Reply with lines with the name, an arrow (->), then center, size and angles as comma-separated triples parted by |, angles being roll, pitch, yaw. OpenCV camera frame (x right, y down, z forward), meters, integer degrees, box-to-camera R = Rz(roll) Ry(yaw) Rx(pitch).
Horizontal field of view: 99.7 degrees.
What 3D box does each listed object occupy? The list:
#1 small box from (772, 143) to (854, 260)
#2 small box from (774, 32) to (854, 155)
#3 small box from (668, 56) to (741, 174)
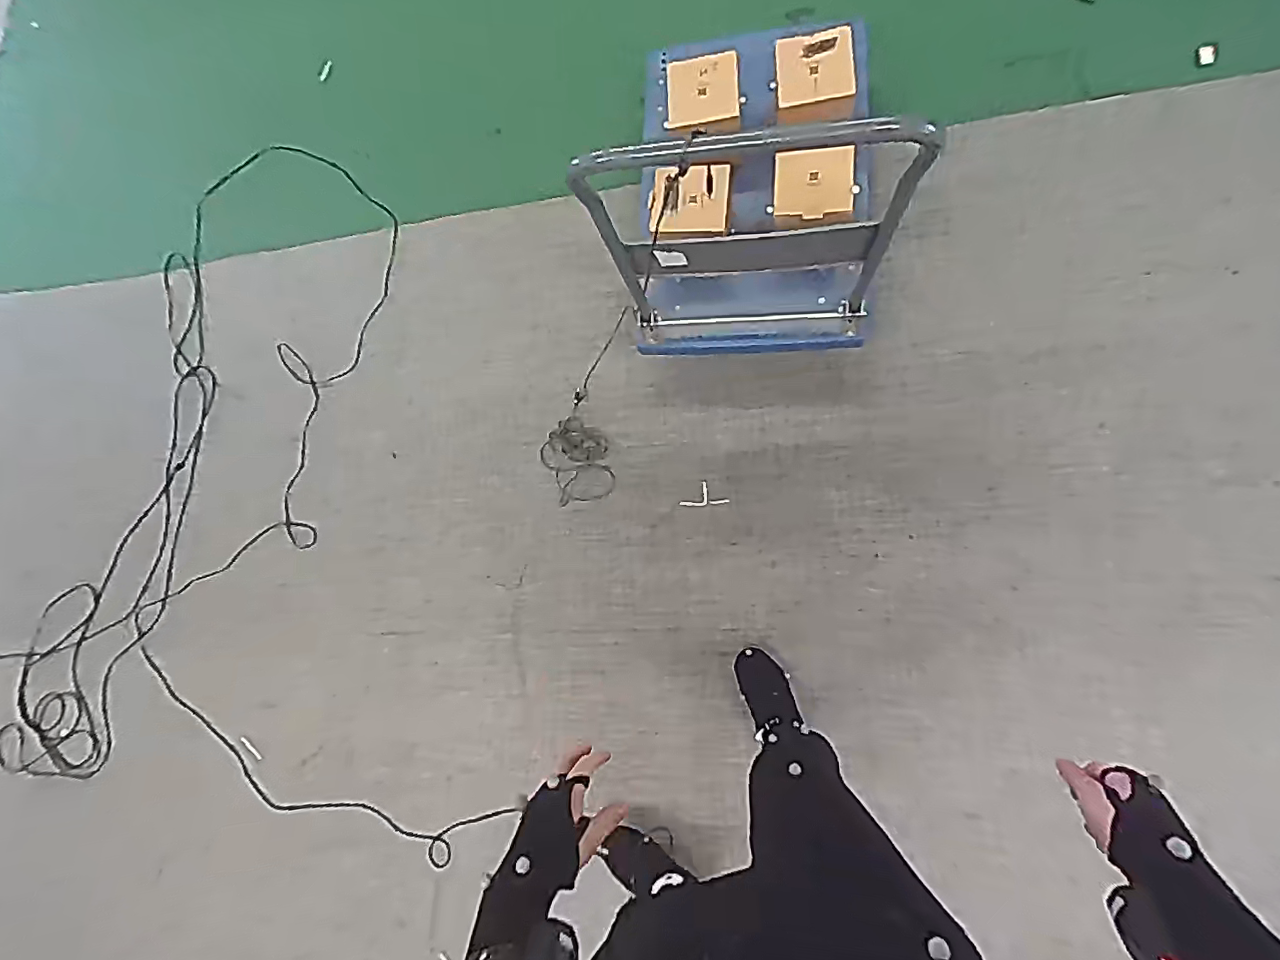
small box -> 0.398, -0.641, 1.261 | 0.168, 0.176, 0.179 | 2, 83, 13
small box -> 0.410, -0.909, 1.296 | 0.168, 0.176, 0.179 | -3, 82, 13
small box -> 0.165, -0.896, 1.350 | 0.168, 0.176, 0.179 | -3, 81, 12
